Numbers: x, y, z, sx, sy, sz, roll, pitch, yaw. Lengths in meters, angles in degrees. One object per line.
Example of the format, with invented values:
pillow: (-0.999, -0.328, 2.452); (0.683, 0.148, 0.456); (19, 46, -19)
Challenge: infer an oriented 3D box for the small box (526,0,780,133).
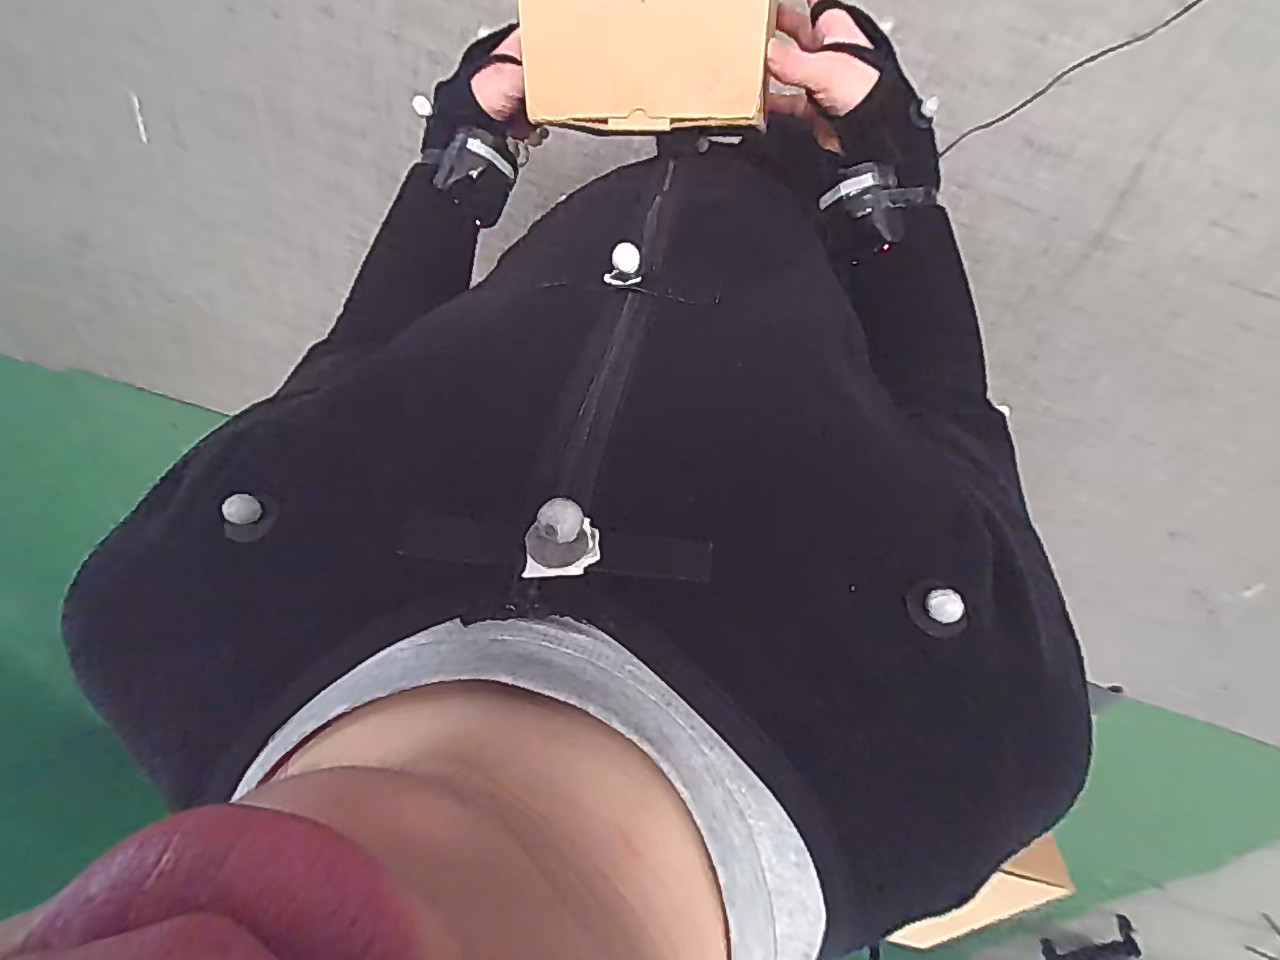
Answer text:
small box: (0.020, -0.366, 0.405); (0.168, 0.176, 0.179); (6, 120, 10)
